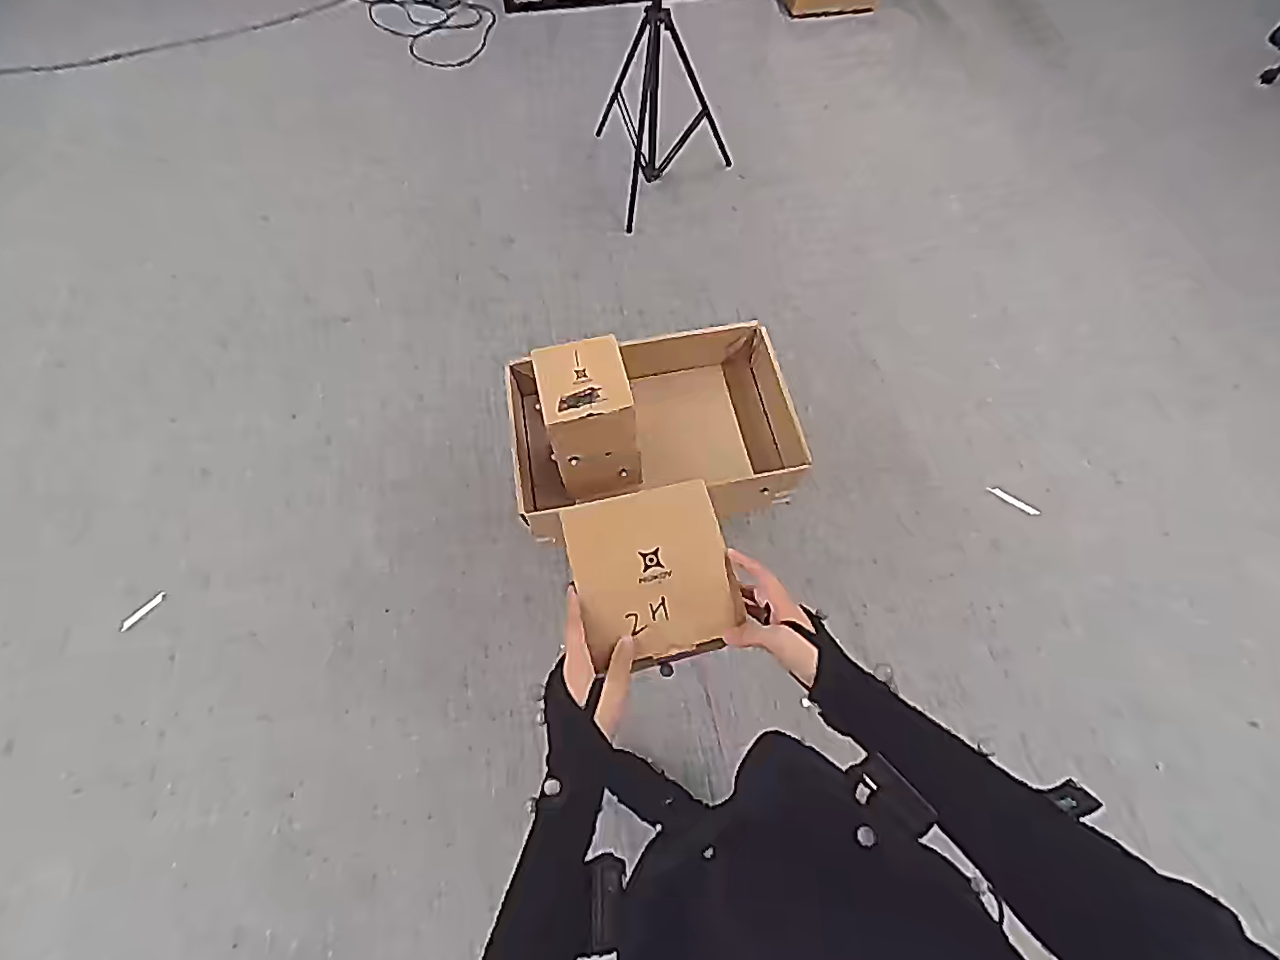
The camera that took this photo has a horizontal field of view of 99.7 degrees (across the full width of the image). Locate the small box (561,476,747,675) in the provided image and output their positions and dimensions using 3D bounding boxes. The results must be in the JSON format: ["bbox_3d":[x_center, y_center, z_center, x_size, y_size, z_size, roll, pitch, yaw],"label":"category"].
[{"bbox_3d":[0.005,0.119,0.634,0.168,0.176,0.179,-12,69,-8],"label":"small box"}]

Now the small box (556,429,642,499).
[{"bbox_3d":[-0.099,-0.075,1.205,0.179,0.176,0.168,-14,66,-5],"label":"small box"}]

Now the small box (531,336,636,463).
[{"bbox_3d":[-0.106,-0.148,1.058,0.168,0.176,0.179,-13,64,-5],"label":"small box"}]
